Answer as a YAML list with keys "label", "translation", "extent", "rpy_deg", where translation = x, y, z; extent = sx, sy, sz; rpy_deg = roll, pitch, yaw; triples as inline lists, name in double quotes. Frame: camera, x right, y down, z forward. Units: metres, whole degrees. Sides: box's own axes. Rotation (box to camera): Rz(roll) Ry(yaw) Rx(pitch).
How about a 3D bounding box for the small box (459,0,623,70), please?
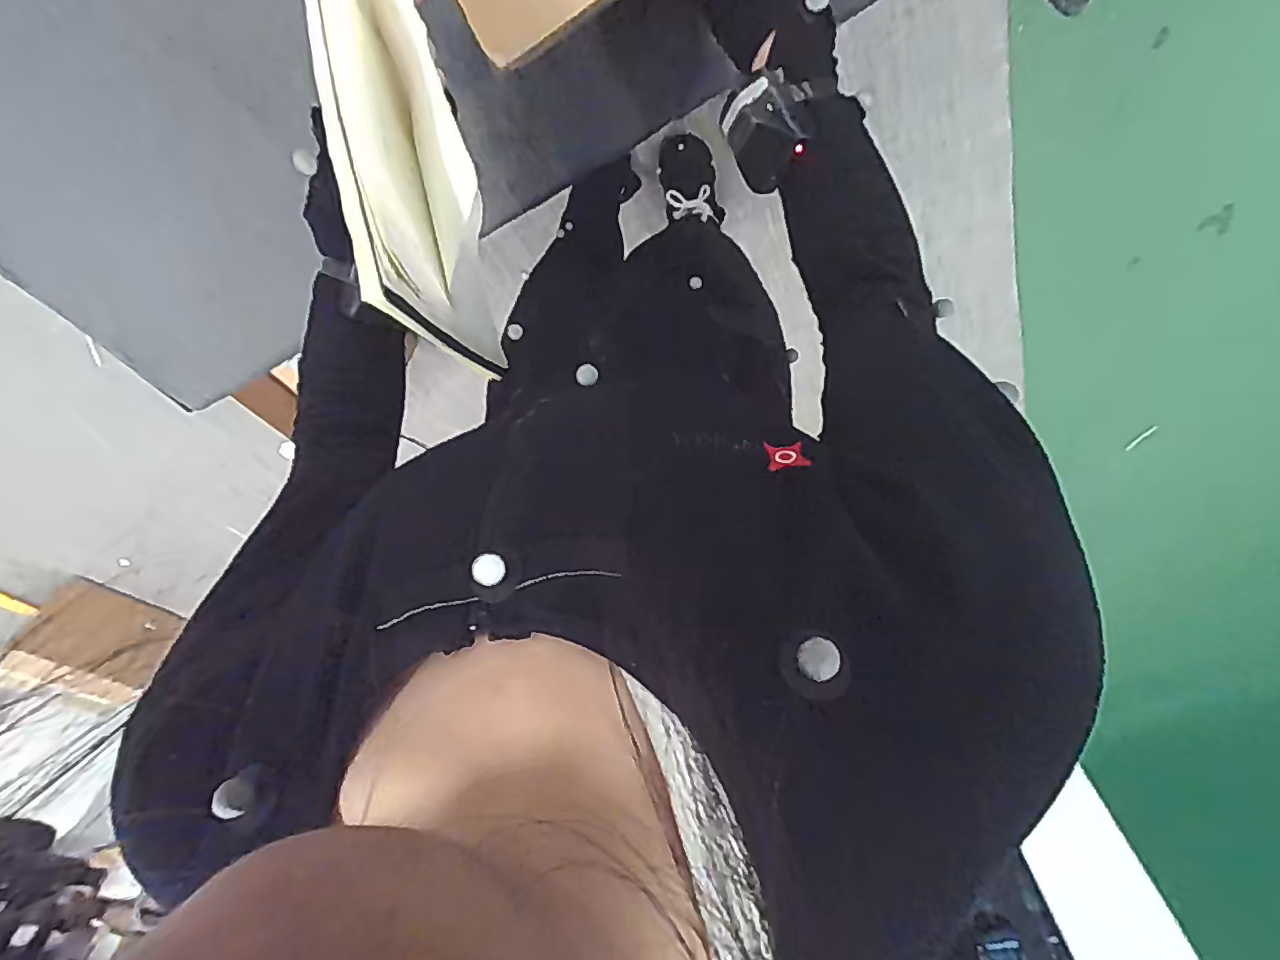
- label: "small box"
  translation: [-0.059, -0.412, 0.354]
  extent: [0.179, 0.176, 0.168]
  rpy_deg: [-22, 127, 17]
